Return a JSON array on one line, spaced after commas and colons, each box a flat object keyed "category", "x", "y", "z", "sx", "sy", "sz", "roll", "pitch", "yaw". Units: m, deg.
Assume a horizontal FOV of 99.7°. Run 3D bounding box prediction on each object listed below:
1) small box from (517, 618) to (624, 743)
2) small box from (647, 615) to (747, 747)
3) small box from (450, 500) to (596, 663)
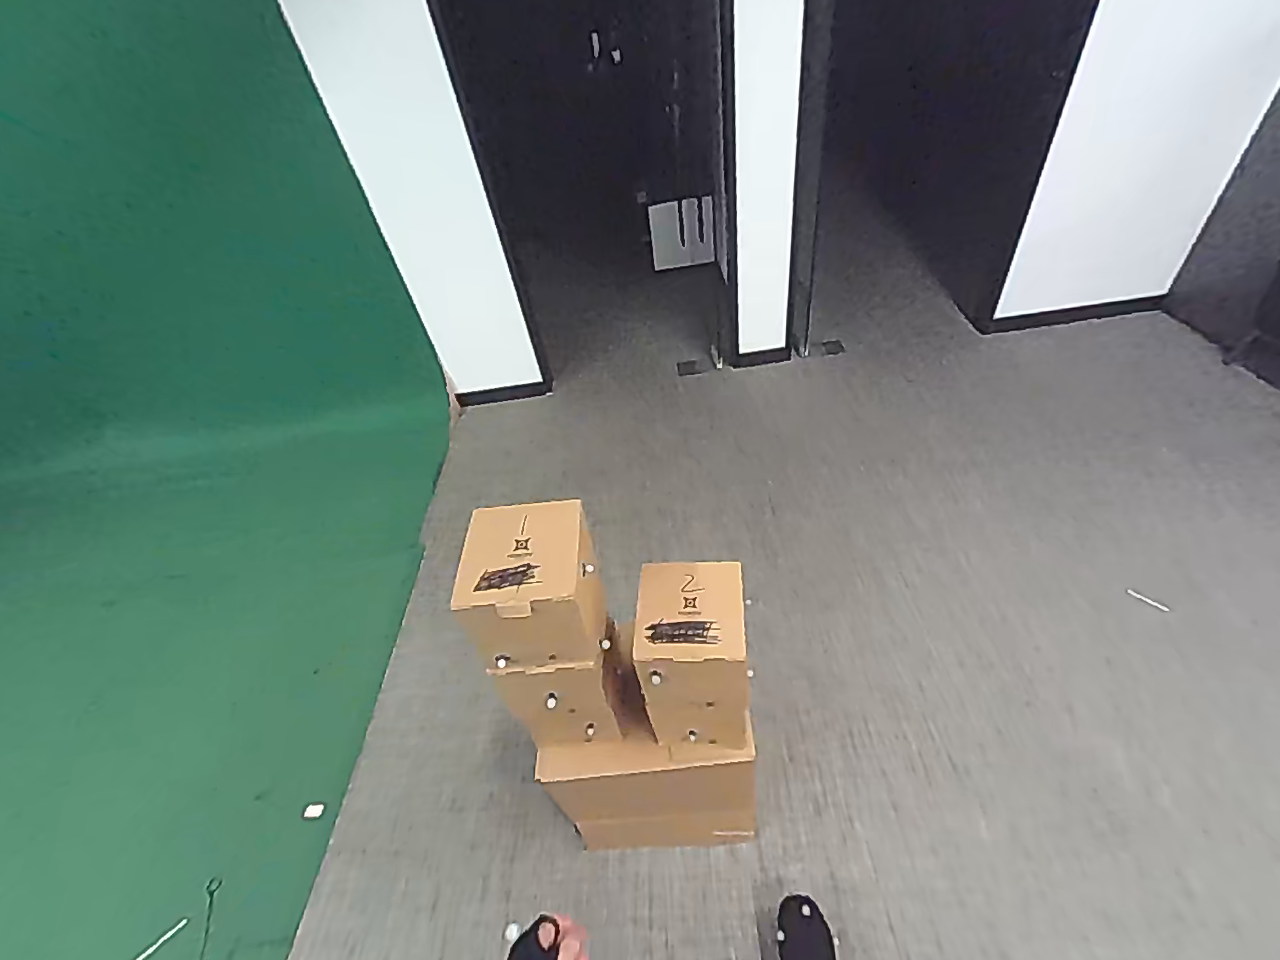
[{"category": "small box", "x": -0.122, "y": 0.387, "z": 1.031, "sx": 0.168, "sy": 0.176, "sz": 0.179, "roll": -5, "pitch": 44, "yaw": 4}, {"category": "small box", "x": 0.110, "y": 0.369, "z": 1.001, "sx": 0.168, "sy": 0.176, "sz": 0.179, "roll": -3, "pitch": 44, "yaw": 10}, {"category": "small box", "x": -0.158, "y": 0.156, "z": 0.801, "sx": 0.168, "sy": 0.176, "sz": 0.179, "roll": -6, "pitch": 43, "yaw": 2}]
